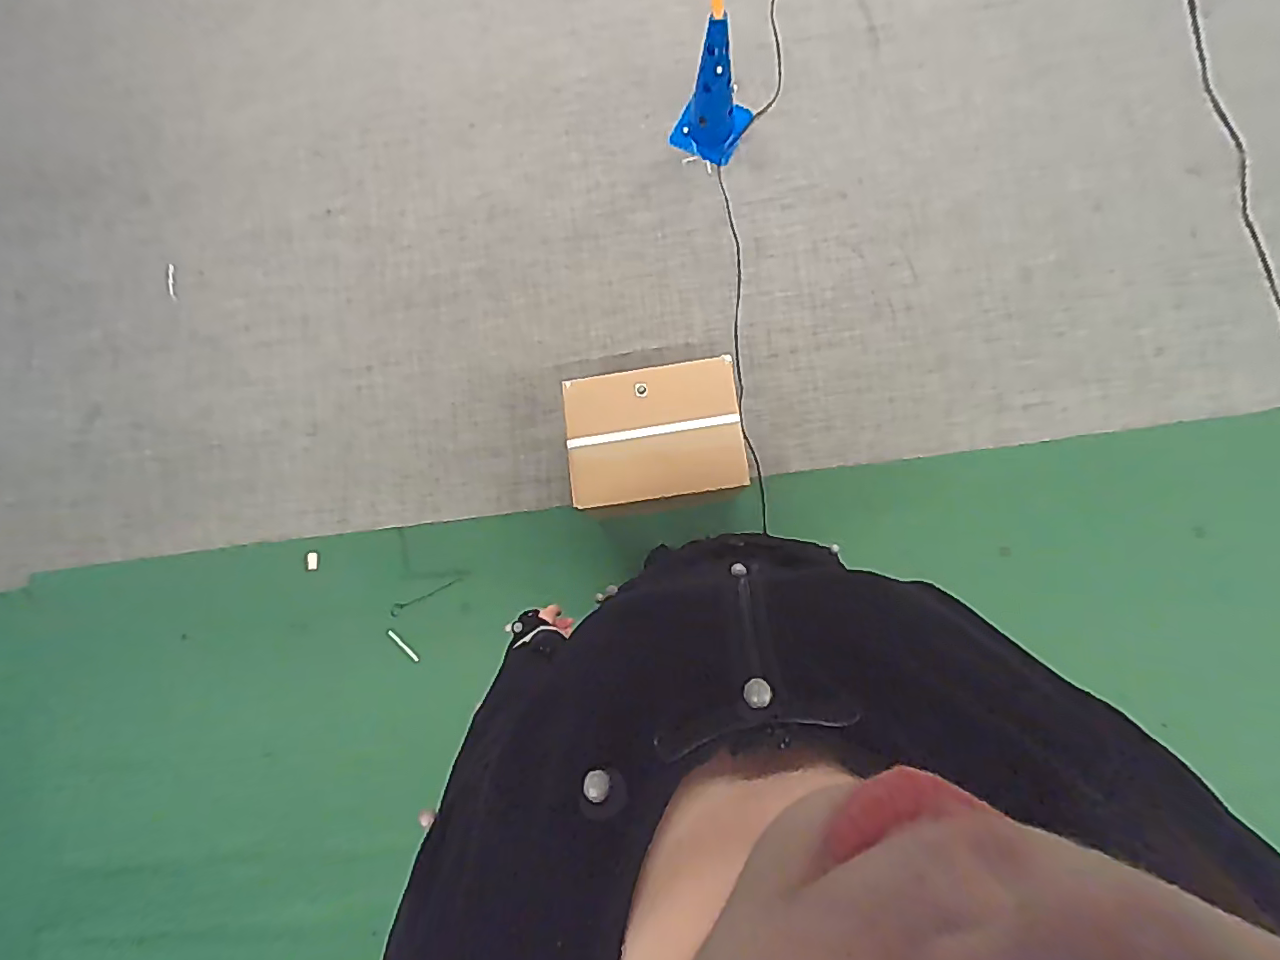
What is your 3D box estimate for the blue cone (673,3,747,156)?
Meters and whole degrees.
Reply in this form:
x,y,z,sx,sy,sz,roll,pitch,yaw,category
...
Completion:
x,y,z,sx,sy,sz,roll,pitch,yaw,category
0.198,-1.093,1.463,0.192,0.380,0.193,25,87,7,blue cone
